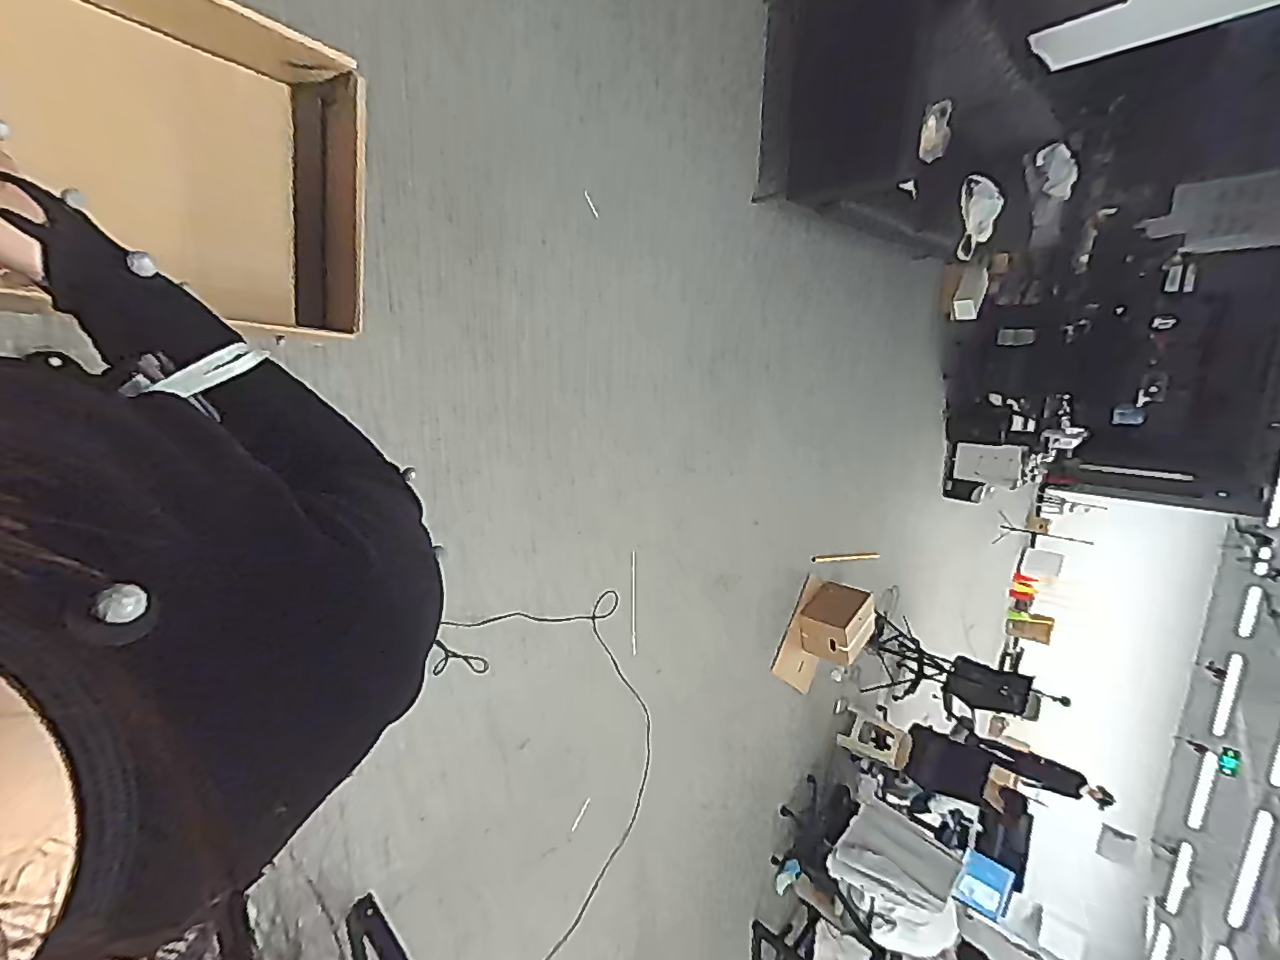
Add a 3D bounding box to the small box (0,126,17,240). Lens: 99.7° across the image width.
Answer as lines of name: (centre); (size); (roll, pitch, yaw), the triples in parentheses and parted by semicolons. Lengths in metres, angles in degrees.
small box: (-0.512, -0.249, 0.320); (0.168, 0.176, 0.179); (-11, 116, -44)
